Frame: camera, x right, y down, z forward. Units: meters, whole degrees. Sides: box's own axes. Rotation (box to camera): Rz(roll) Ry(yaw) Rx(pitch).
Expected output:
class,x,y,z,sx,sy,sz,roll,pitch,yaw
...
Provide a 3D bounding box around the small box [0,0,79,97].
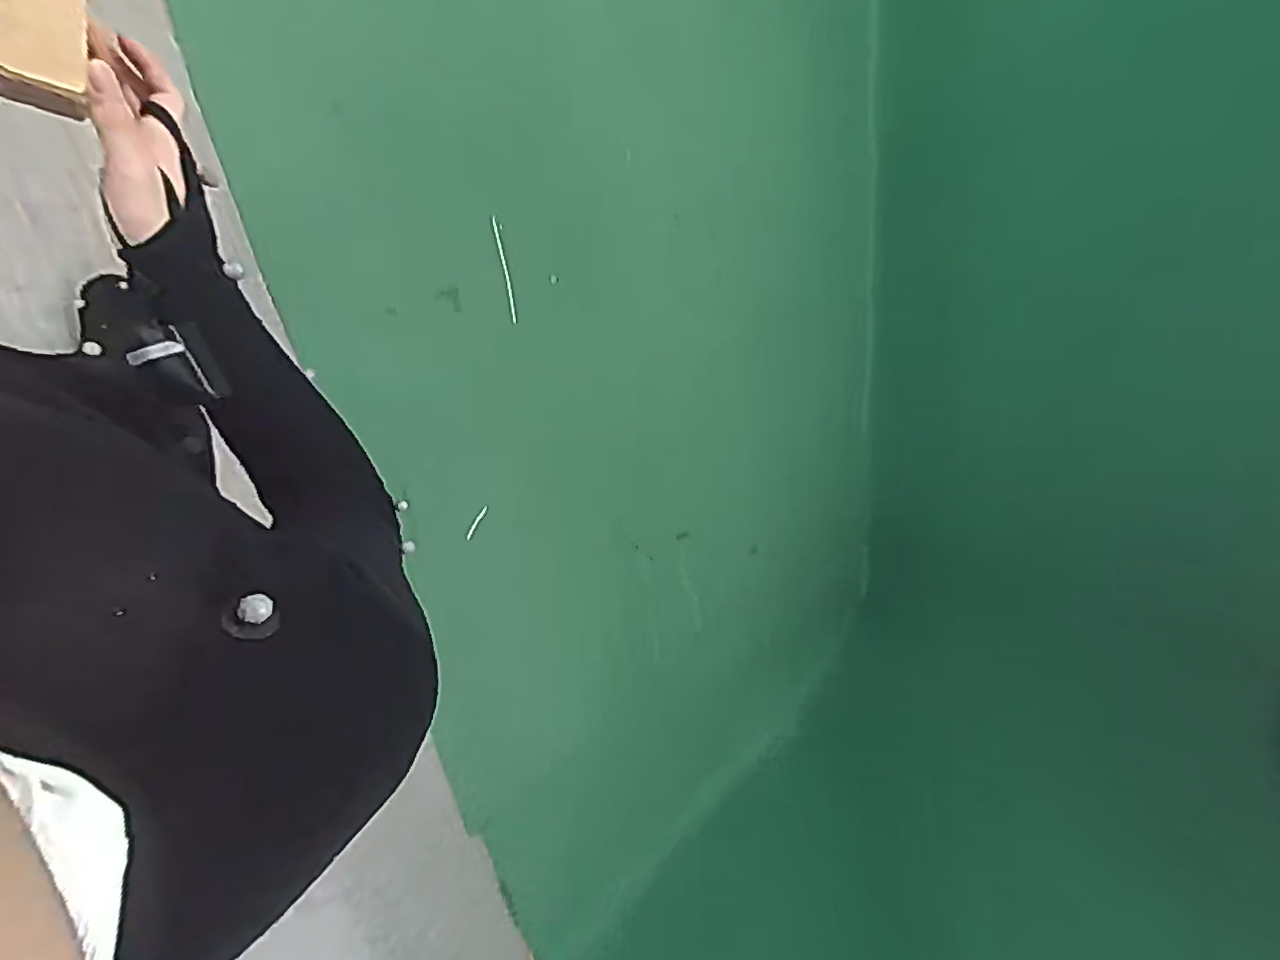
class,x,y,z,sx,sy,sz,roll,pitch,yaw
small box,-0.413,-0.335,0.282,0.168,0.176,0.179,-1,112,-47
